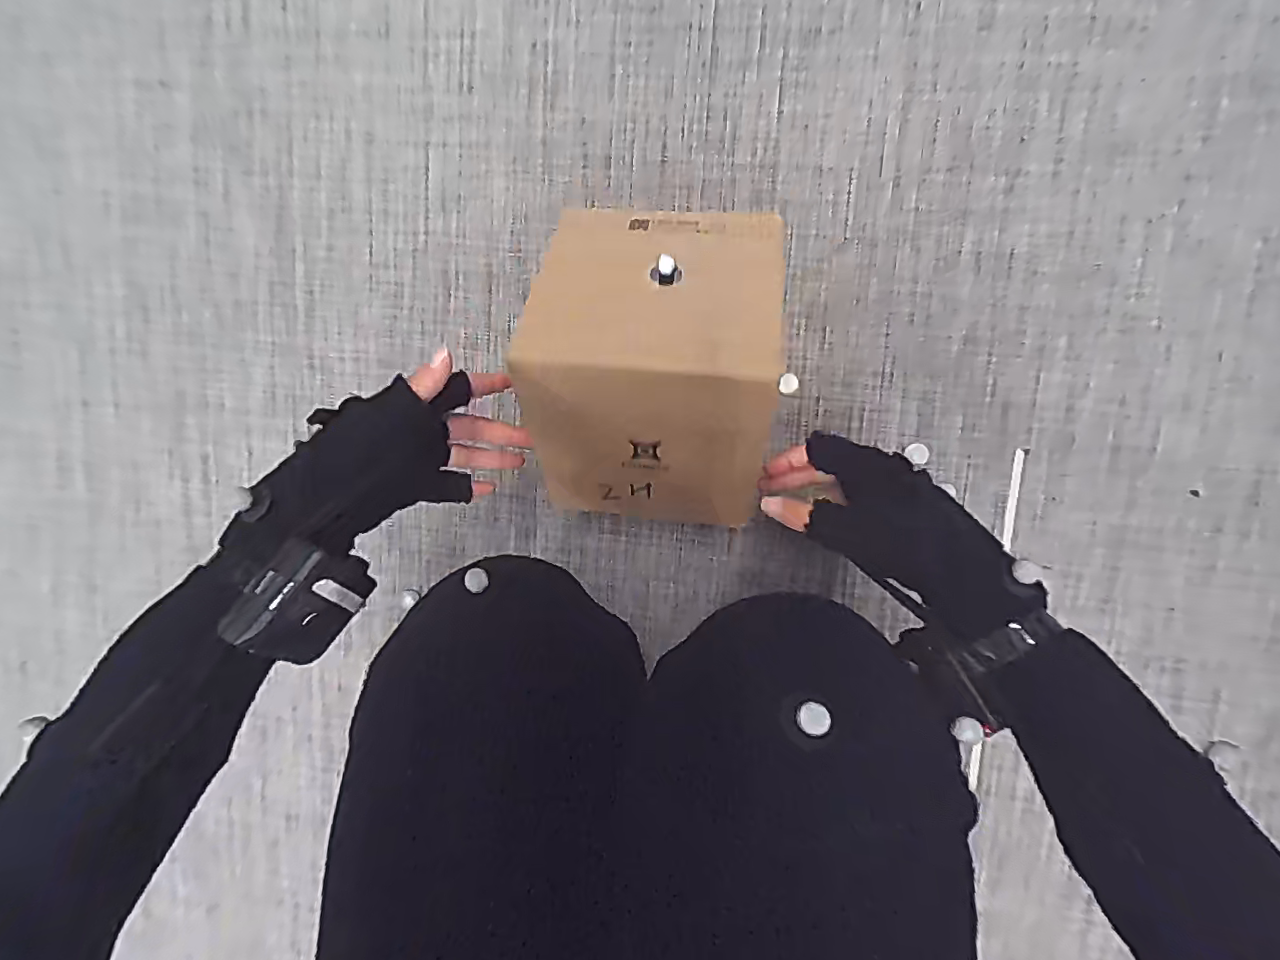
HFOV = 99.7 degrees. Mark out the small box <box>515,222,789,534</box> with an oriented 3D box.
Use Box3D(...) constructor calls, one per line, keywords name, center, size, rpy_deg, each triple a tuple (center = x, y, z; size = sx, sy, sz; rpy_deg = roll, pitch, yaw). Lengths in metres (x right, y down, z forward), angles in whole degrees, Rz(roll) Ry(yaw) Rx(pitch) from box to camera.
Box3D(name="small box", center=(0.017, -0.078, 0.428), size=(0.168, 0.179, 0.176), rpy_deg=(6, 57, 7))
